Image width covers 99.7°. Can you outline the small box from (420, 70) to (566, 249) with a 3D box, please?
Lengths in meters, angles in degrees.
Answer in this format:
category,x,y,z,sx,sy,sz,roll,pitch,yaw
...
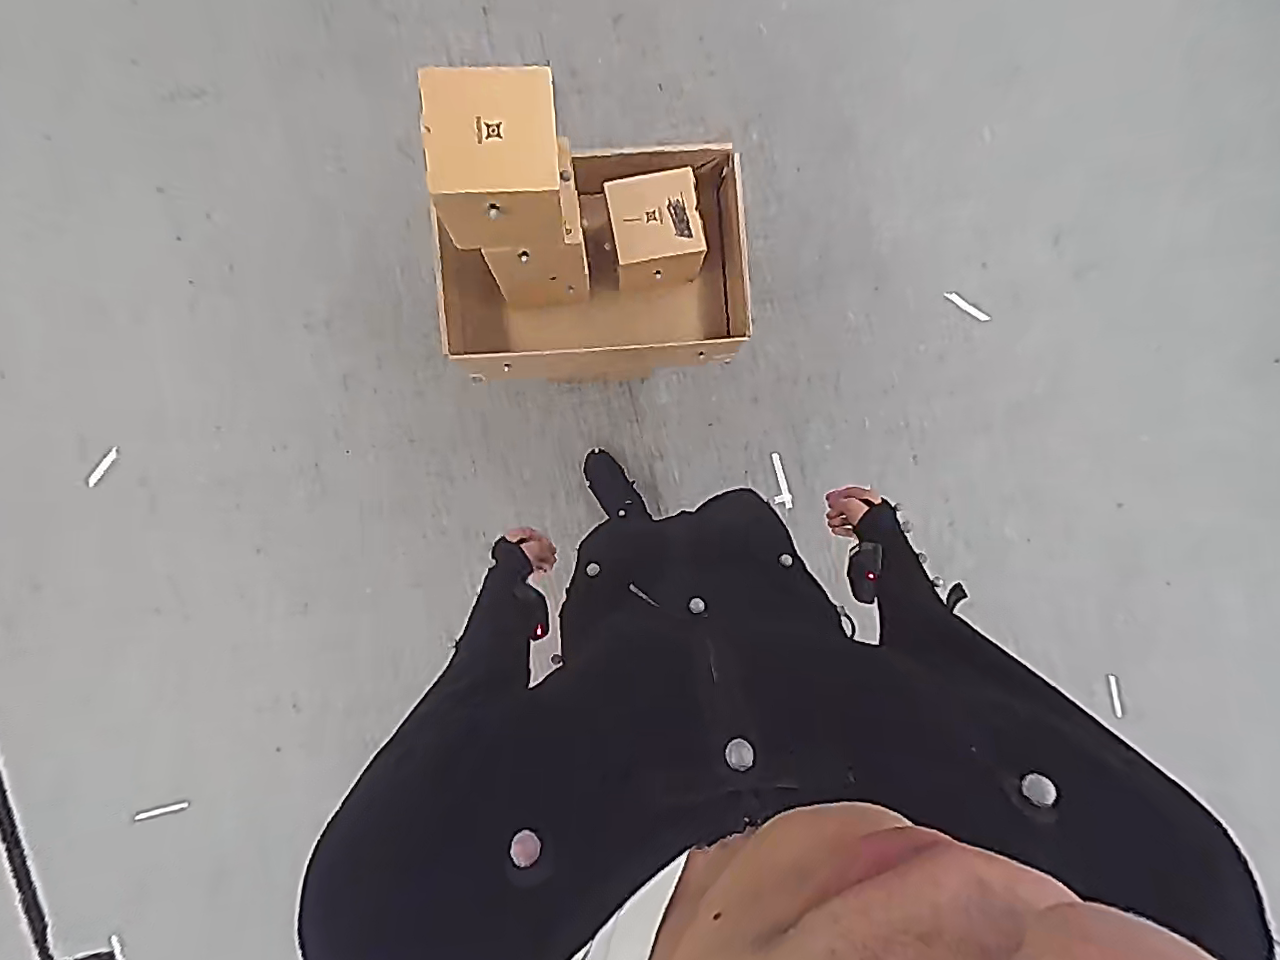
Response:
category,x,y,z,sx,sy,sz,roll,pitch,yaw
small box,-0.201,-0.453,0.787,0.179,0.176,0.168,-5,90,-4

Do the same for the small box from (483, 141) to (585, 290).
category,x,y,z,sx,sy,sz,roll,pitch,yaw
small box,-0.189,-0.456,0.952,0.168,0.176,0.179,-8,90,-4
